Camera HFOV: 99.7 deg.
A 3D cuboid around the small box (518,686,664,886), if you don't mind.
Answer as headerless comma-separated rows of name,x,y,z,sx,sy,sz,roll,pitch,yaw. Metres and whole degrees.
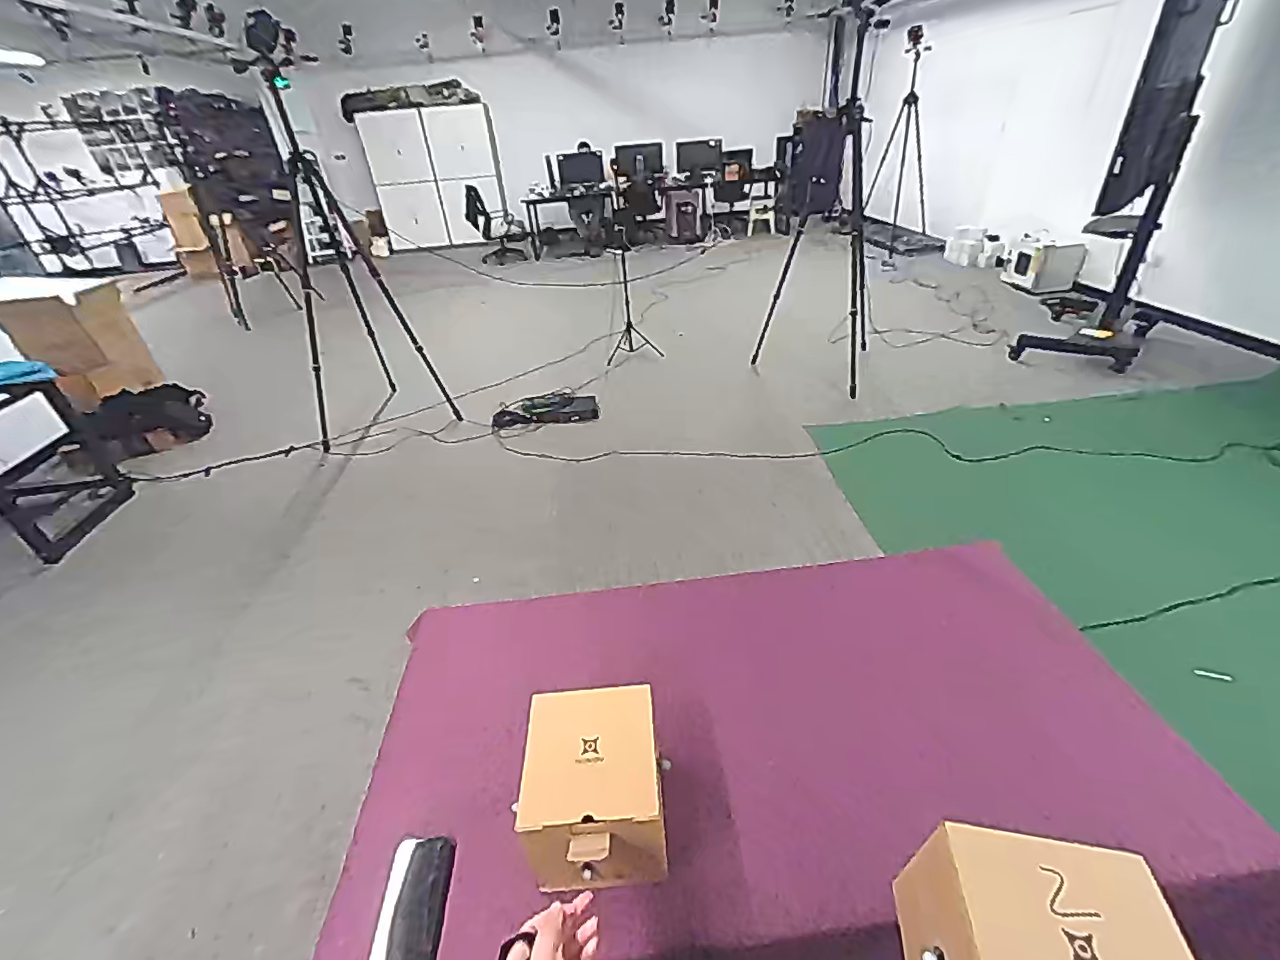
small box,-0.055,0.403,0.721,0.168,0.176,0.179,-4,34,0
